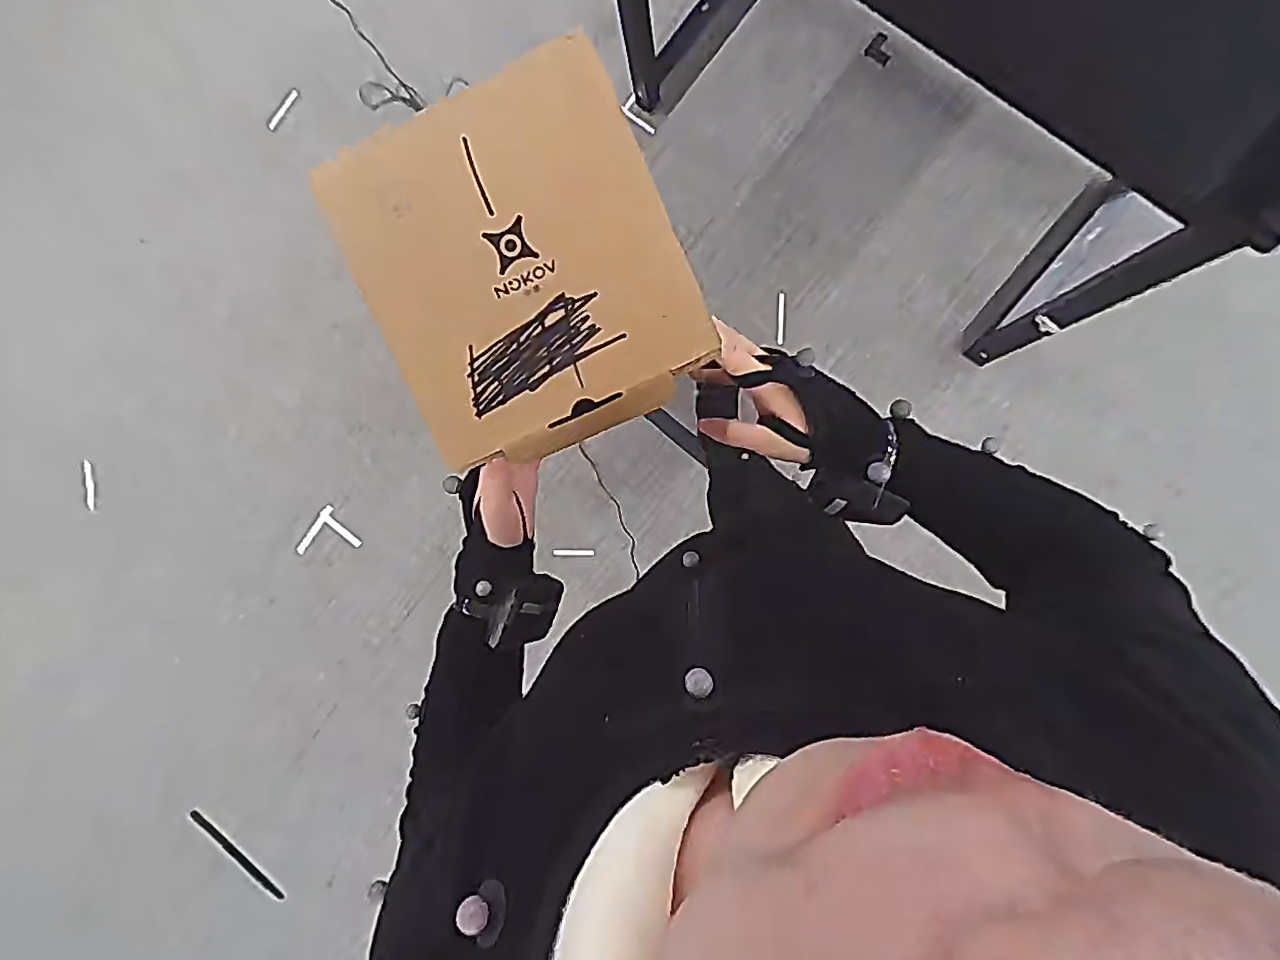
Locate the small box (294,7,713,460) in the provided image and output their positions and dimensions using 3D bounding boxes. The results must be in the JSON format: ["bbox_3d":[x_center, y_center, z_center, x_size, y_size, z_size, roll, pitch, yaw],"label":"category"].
[{"bbox_3d":[-0.065,-0.131,0.356,0.168,0.176,0.179,-24,97,4],"label":"small box"}]
